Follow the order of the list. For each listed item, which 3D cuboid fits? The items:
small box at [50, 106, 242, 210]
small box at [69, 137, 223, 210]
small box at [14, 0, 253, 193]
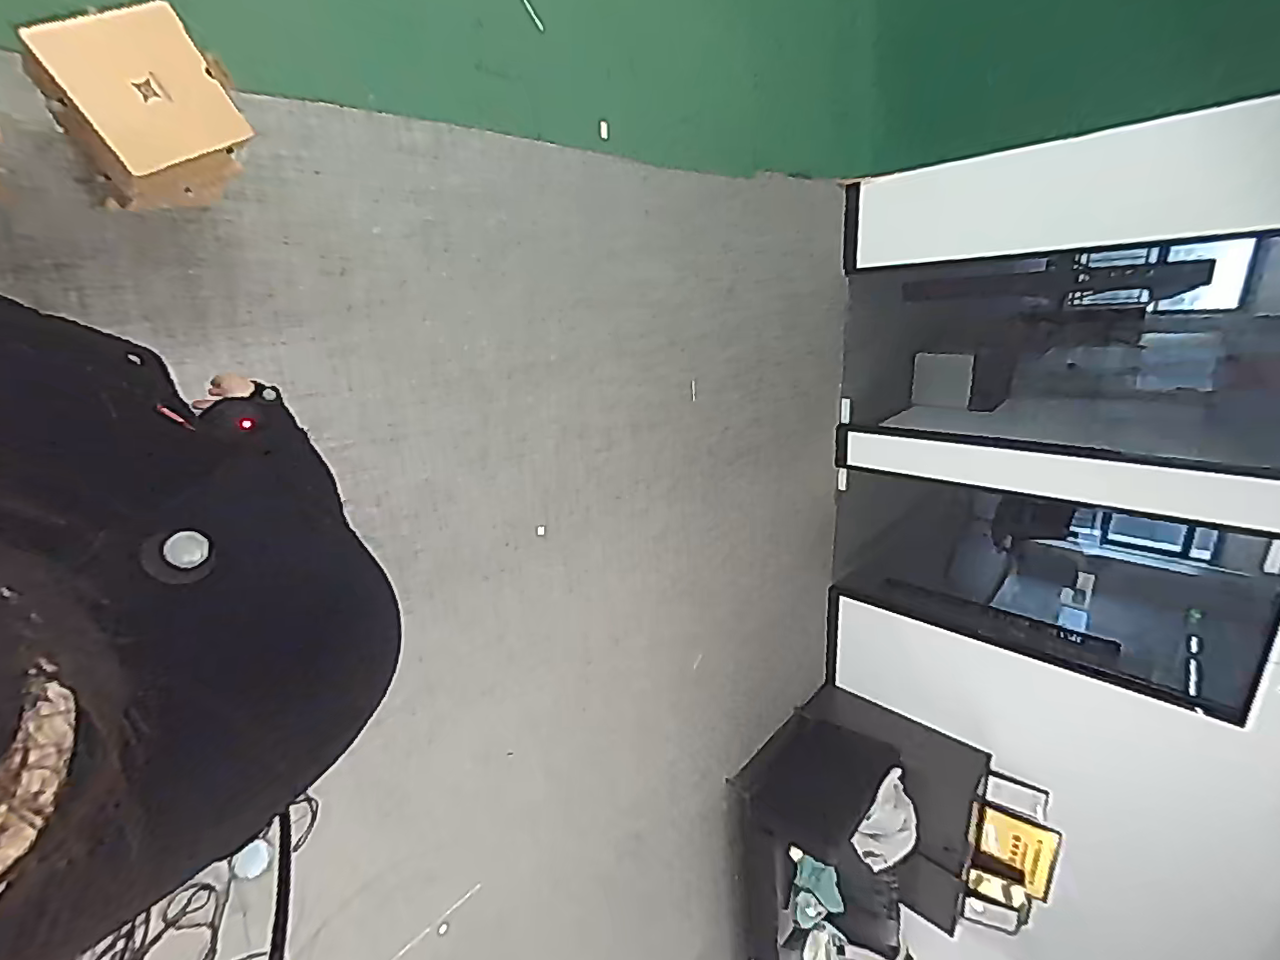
[{"bbox_3d":[-0.811,-0.563,0.889,0.179,0.176,0.168,-43,130,-31],"label":"small box"},{"bbox_3d":[-0.922,-0.605,1.000,0.179,0.176,0.168,-30,122,-39],"label":"small box"},{"bbox_3d":[-0.706,-0.531,0.767,0.179,0.176,0.168,-47,131,-28],"label":"small box"}]
